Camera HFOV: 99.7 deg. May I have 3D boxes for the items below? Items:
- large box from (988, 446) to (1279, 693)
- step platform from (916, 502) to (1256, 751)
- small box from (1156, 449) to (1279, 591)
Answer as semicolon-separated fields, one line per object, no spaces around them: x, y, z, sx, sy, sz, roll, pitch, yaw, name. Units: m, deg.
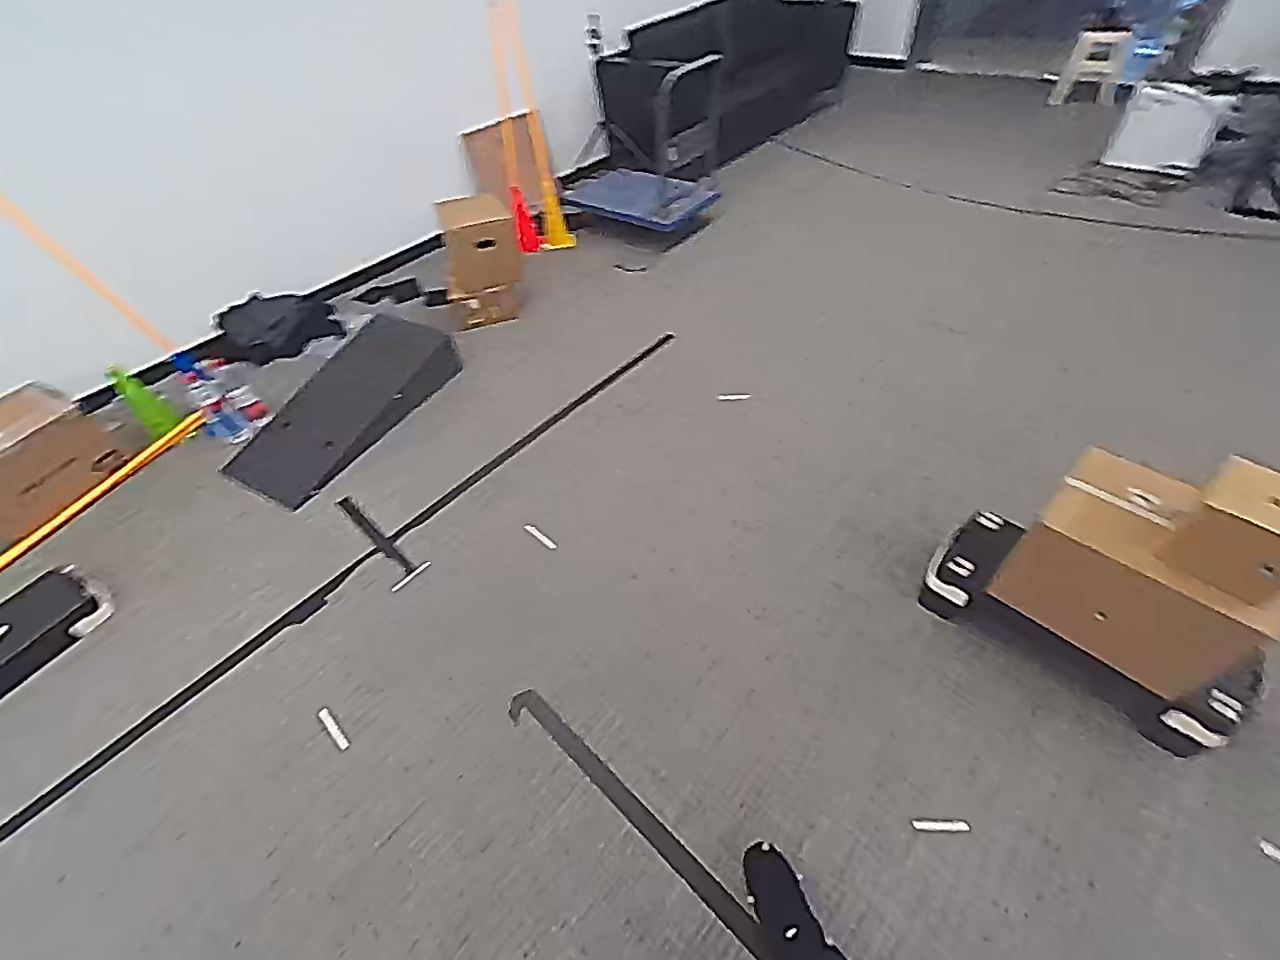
1.119;0.194;1.237;0.320;0.320;0.408;-38;53;-25;large box
1.121;0.344;1.425;0.286;0.204;0.684;-36;52;-23;step platform
1.135;0.081;1.005;0.168;0.176;0.179;-36;53;-23;small box
